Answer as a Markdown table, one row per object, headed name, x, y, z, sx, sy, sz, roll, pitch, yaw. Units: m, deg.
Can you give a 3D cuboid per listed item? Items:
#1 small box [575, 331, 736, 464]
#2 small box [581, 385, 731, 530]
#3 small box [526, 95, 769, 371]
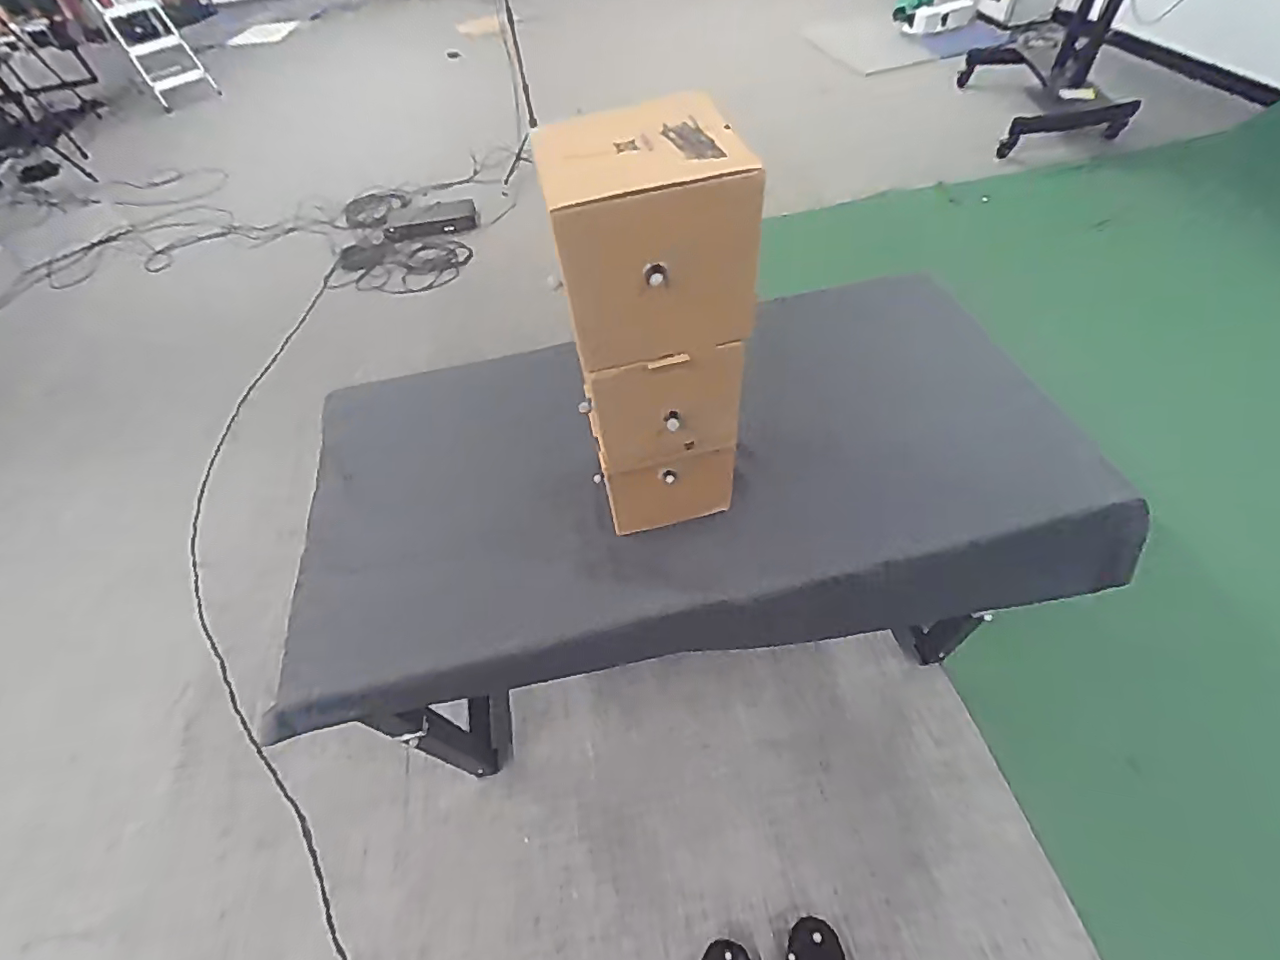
| name | x | y | z | sx | sy | sz | roll | pitch | yaw |
| --- | --- | --- | --- | --- | --- | --- | --- | --- | --- |
| small box | 0.010 | -0.138 | 0.657 | 0.168 | 0.176 | 0.179 | -14 | 55 | -4 |
| small box | 0.023 | -0.046 | 0.791 | 0.179 | 0.176 | 0.168 | -13 | 54 | -5 |
| small box | 0.002 | -0.233 | 0.522 | 0.179 | 0.176 | 0.168 | -15 | 54 | -6 |
